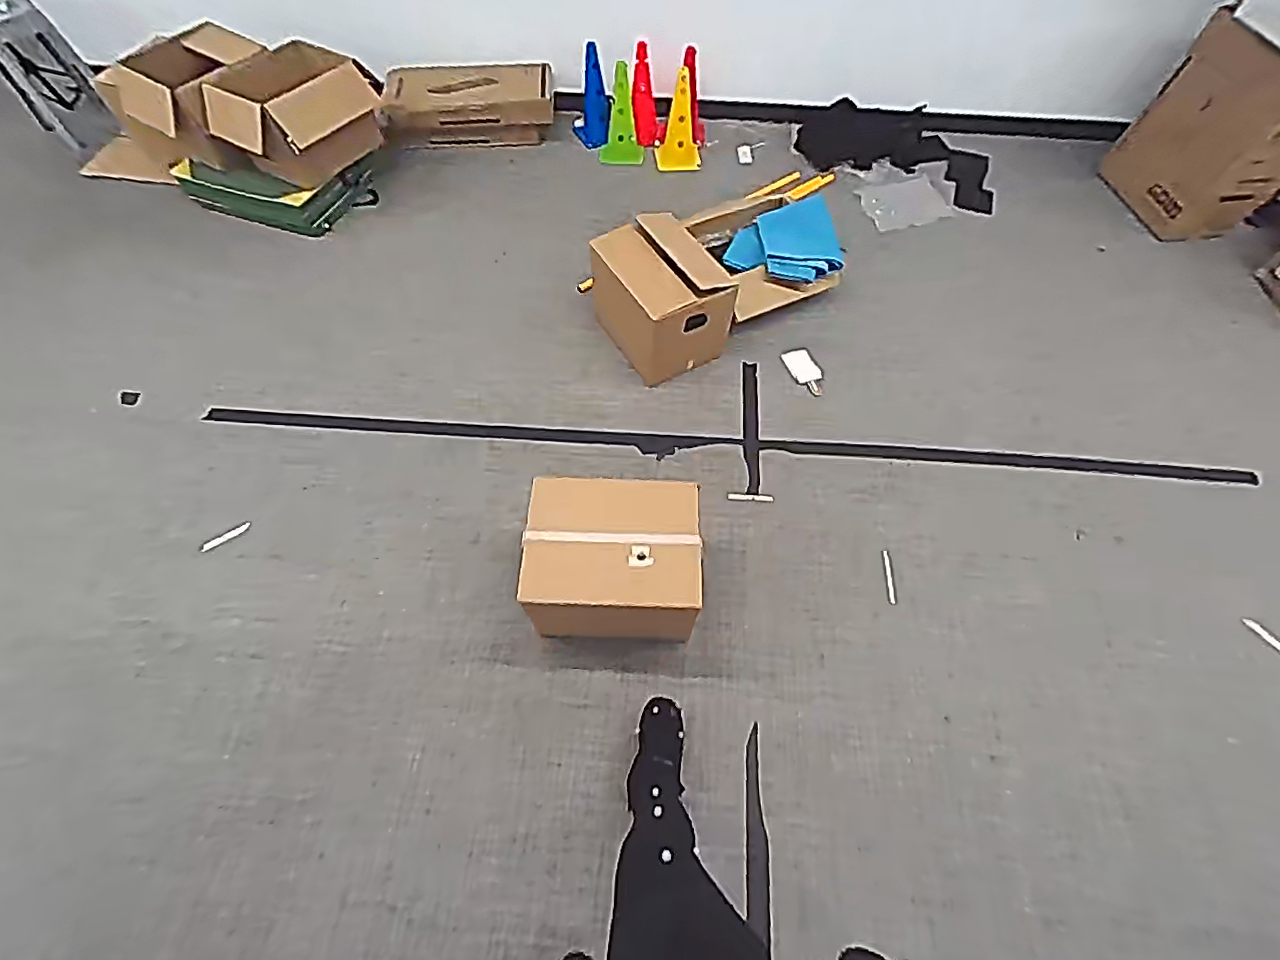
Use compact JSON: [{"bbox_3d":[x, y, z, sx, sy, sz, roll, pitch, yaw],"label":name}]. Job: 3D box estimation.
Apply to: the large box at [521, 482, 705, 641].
[{"bbox_3d":[-0.062,0.214,1.362,0.408,0.320,0.320,2,61,-1],"label":"large box"}]
